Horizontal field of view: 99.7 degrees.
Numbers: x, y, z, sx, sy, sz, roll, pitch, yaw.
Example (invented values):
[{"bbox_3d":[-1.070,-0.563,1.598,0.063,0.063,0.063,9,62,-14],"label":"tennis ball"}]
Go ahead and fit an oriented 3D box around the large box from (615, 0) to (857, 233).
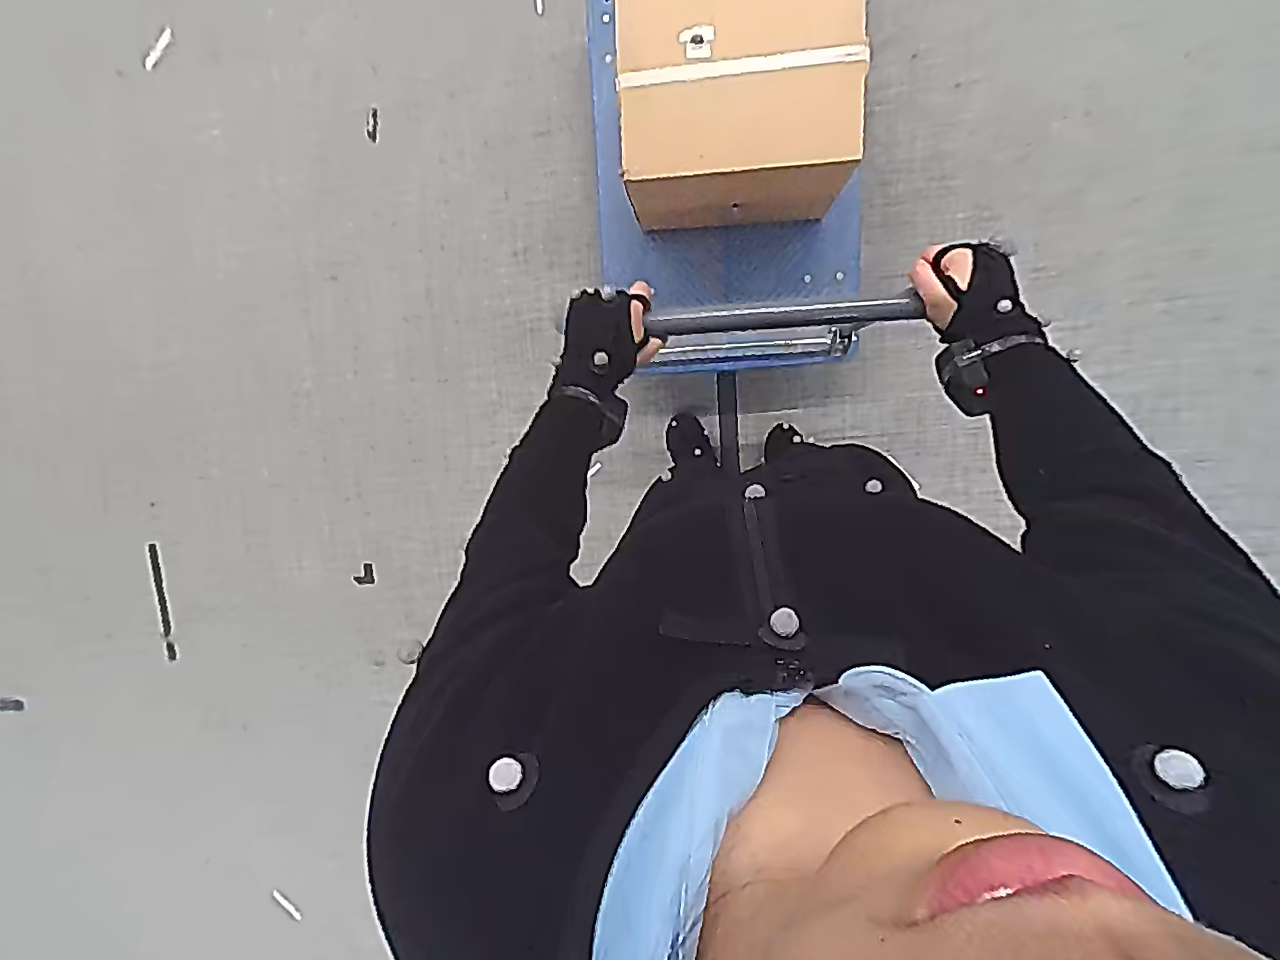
[{"bbox_3d":[0.183,-0.708,1.067,0.408,0.320,0.320,-2,98,8],"label":"large box"}]
